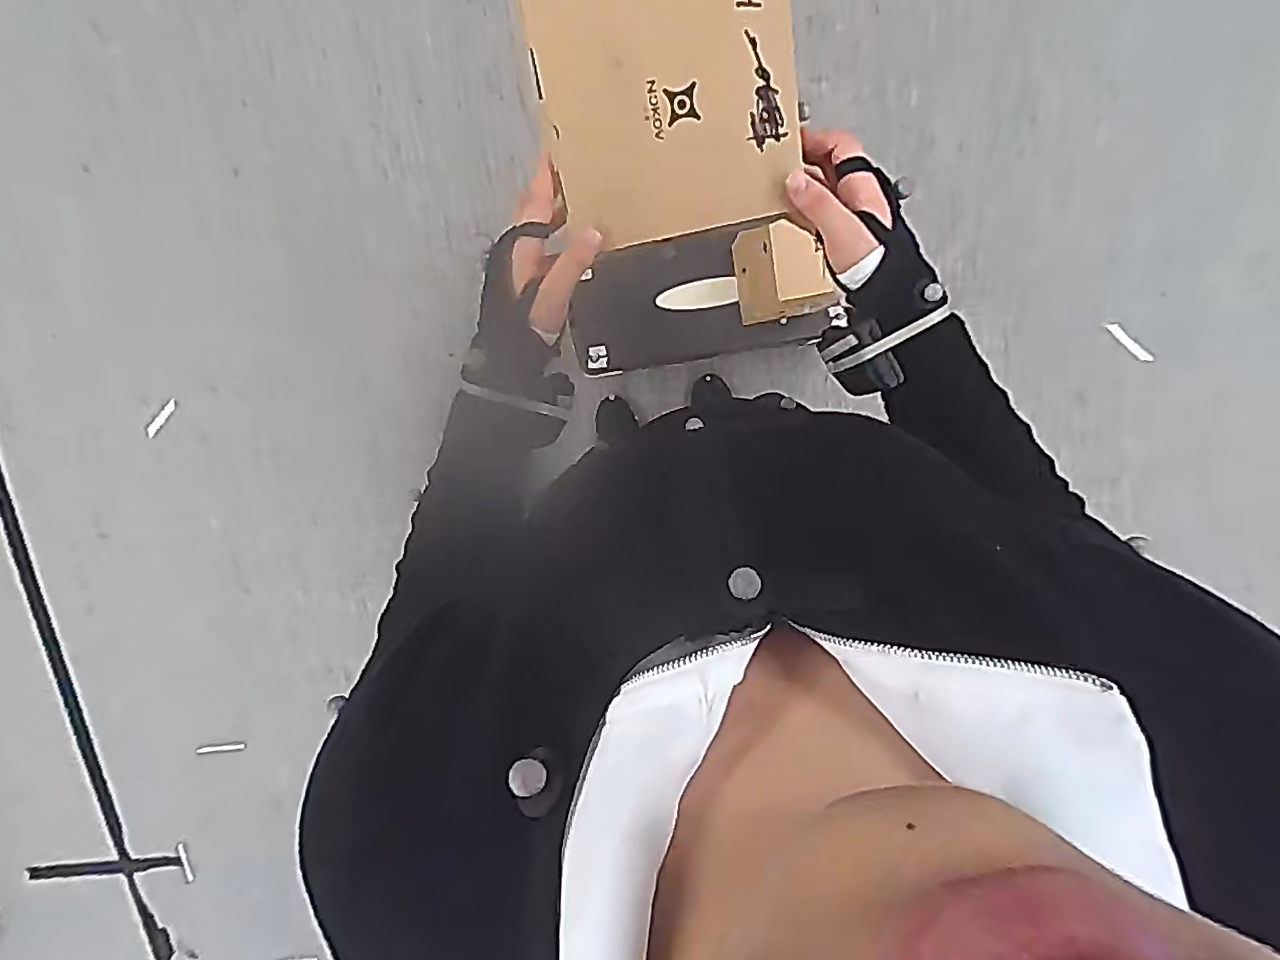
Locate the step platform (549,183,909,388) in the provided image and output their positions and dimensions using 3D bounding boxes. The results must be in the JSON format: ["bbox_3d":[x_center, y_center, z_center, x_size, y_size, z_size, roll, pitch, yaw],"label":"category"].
[{"bbox_3d":[0.170,-0.383,1.123,0.684,0.204,0.286,-9,99,2],"label":"step platform"}]

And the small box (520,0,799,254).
[{"bbox_3d":[0.021,-0.292,0.451,0.179,0.176,0.168,-9,110,5],"label":"small box"}]

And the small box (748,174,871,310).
[{"bbox_3d":[0.299,-0.420,0.982,0.168,0.176,0.179,-10,101,4],"label":"small box"}]

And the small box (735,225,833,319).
[{"bbox_3d":[0.294,-0.445,1.145,0.168,0.176,0.179,-9,100,3],"label":"small box"}]
